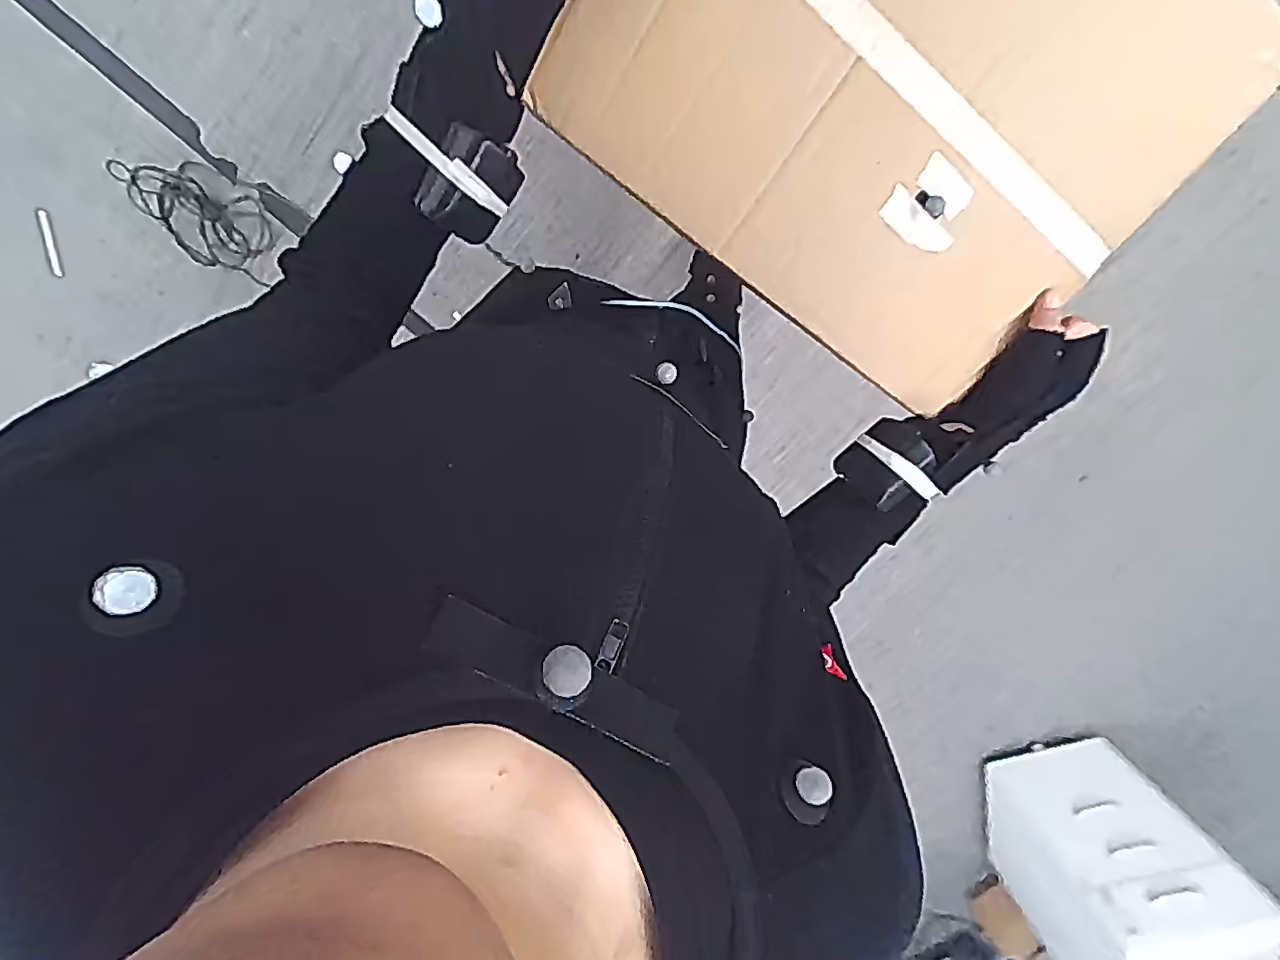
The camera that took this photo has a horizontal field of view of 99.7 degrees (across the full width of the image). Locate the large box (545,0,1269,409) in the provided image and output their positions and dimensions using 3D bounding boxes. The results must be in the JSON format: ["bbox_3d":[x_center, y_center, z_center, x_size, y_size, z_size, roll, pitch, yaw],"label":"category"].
[{"bbox_3d":[0.175,-0.336,0.499,0.408,0.320,0.320,31,113,-16],"label":"large box"}]
